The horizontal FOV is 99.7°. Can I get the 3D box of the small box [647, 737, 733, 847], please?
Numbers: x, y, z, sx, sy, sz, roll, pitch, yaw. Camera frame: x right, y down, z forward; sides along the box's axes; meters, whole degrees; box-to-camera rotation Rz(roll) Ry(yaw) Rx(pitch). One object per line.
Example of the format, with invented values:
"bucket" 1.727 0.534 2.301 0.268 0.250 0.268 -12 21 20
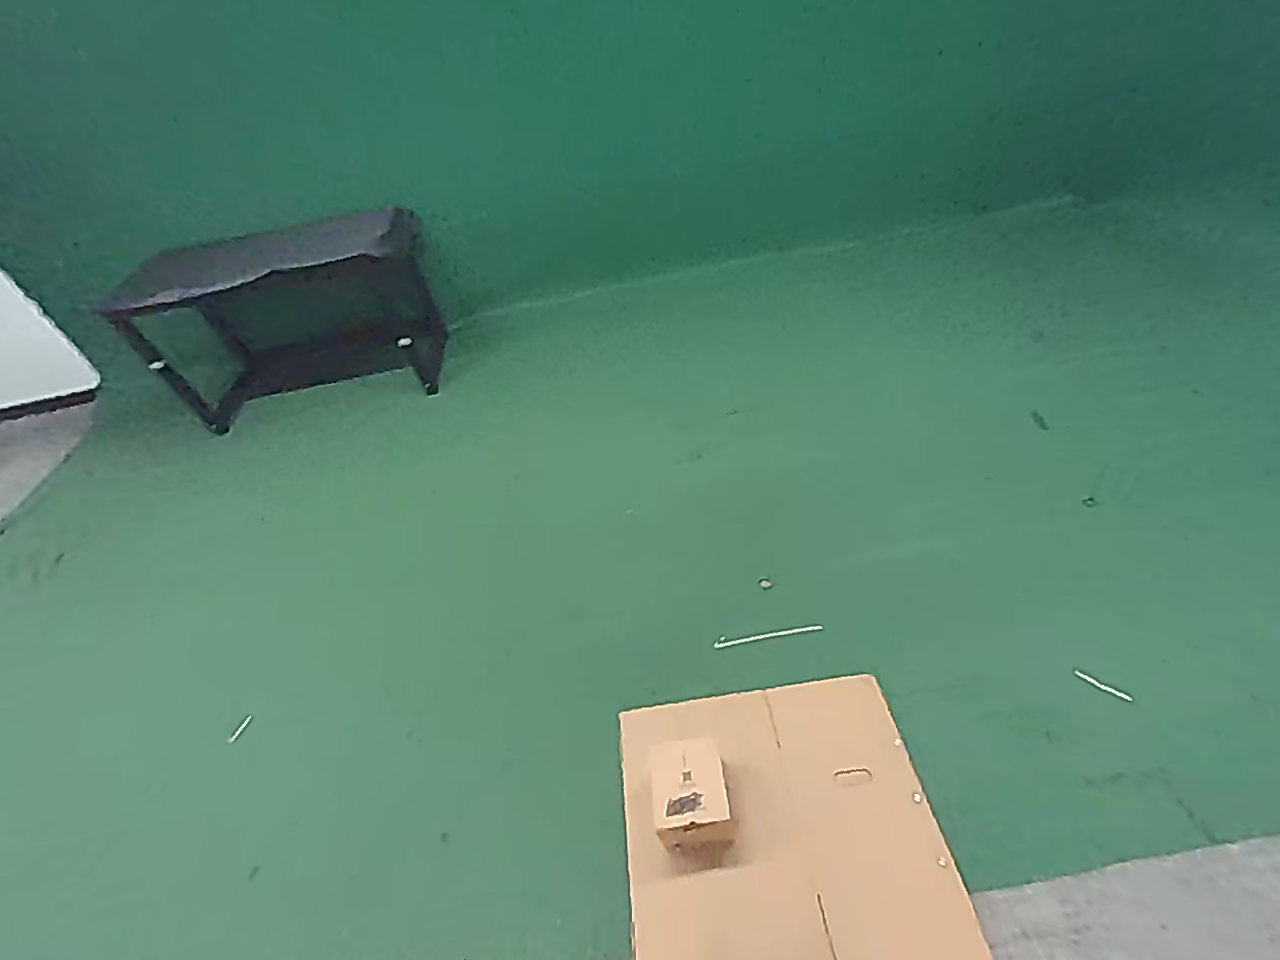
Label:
"small box" 0.116 0.720 1.240 0.168 0.176 0.179 -10 43 4
